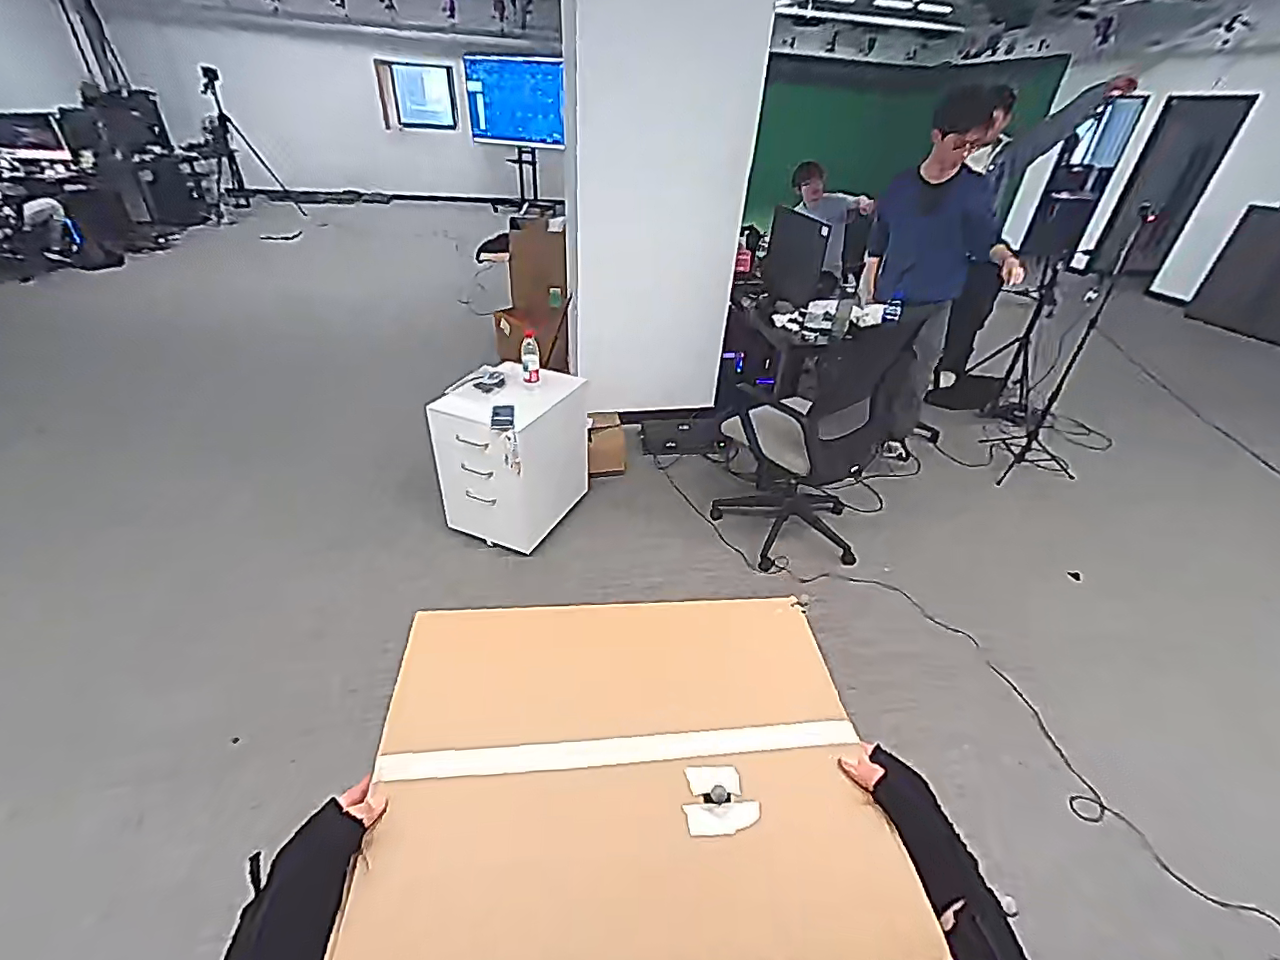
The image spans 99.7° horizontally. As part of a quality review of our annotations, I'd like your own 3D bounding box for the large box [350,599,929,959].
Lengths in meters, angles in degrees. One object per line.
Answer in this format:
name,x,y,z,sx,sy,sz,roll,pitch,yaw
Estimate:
large box,-0.019,0.349,0.558,0.408,0.320,0.320,0,39,-8
